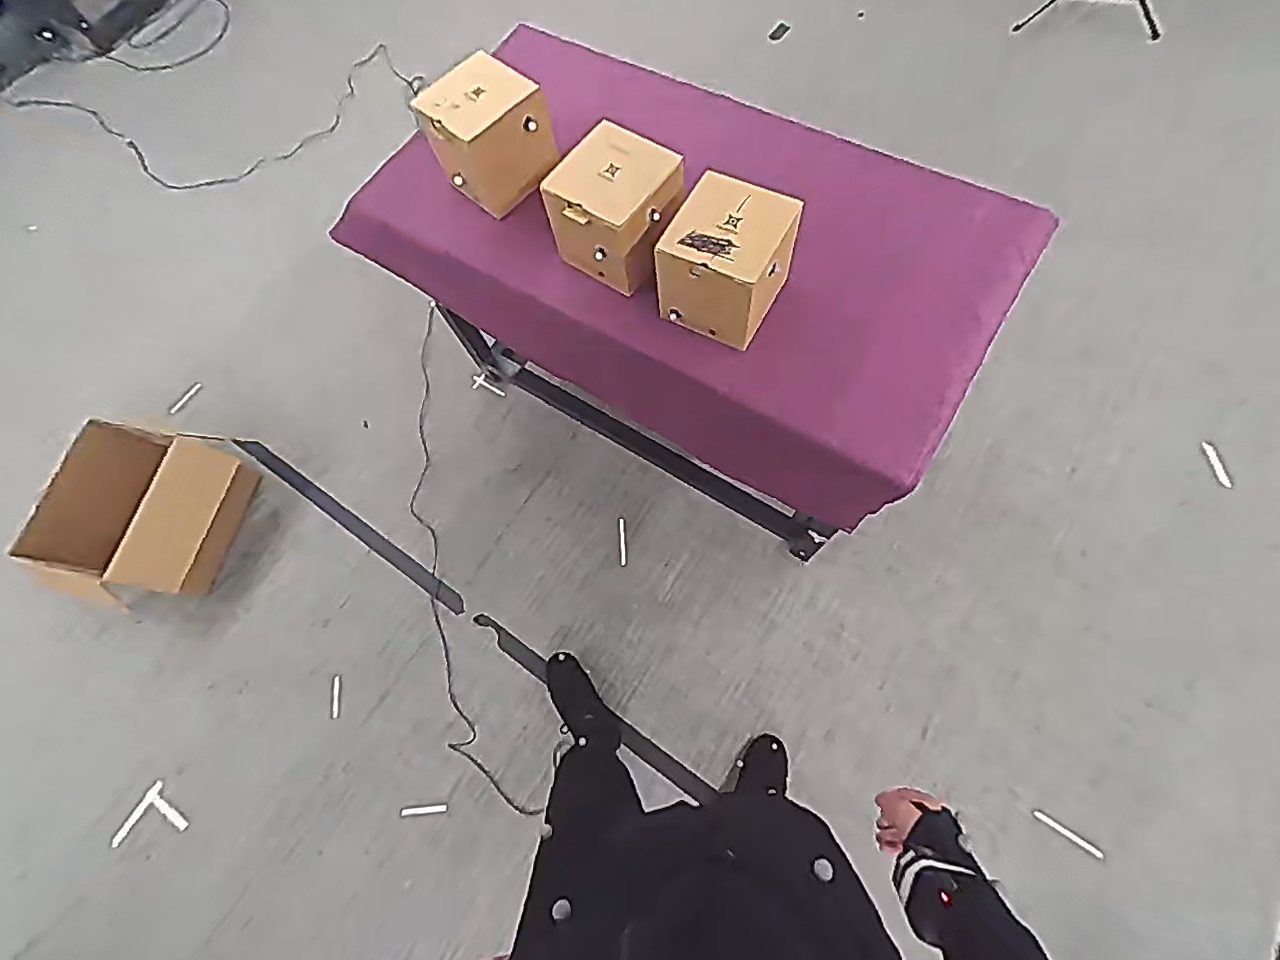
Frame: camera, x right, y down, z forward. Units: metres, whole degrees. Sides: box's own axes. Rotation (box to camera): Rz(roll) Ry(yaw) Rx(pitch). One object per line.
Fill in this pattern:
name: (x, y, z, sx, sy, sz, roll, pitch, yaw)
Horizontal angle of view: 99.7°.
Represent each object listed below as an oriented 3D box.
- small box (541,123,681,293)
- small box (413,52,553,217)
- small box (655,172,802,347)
small box: (-0.040, -0.463, 0.941, 0.168, 0.176, 0.179, 35, 77, 15)
small box: (-0.283, -0.648, 1.027, 0.168, 0.176, 0.179, 41, 79, 17)
small box: (0.141, -0.350, 0.883, 0.168, 0.176, 0.179, 27, 73, 14)
